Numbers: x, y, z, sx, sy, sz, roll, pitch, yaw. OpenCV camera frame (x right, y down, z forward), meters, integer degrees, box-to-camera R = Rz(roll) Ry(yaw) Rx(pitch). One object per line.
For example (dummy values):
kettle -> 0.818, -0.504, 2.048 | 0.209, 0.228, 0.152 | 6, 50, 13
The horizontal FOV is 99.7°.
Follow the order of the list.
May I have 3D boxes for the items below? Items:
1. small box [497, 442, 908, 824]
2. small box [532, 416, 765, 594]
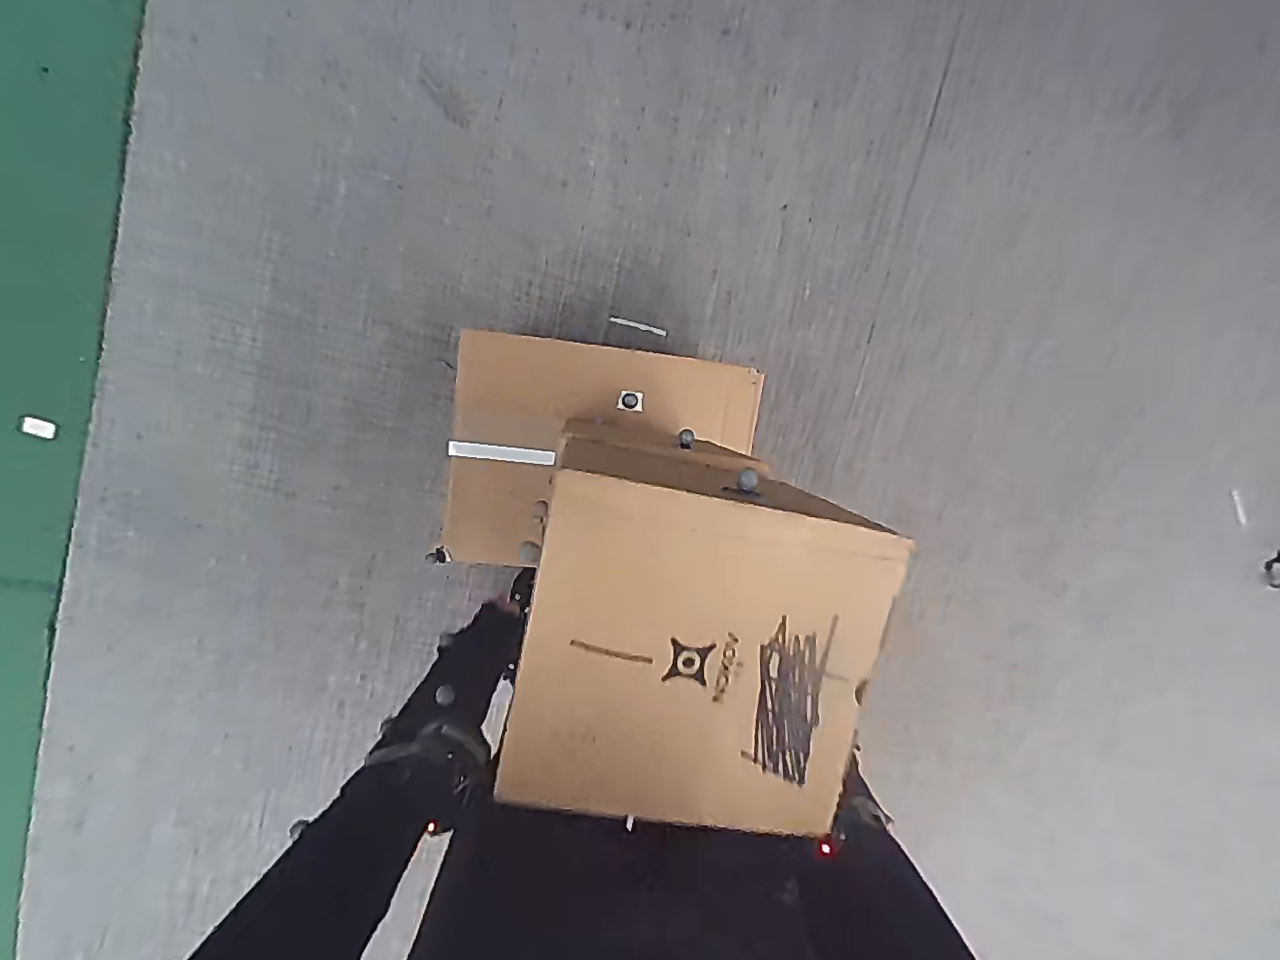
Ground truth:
small box -> 0.022, 0.074, 0.340 | 0.179, 0.176, 0.168 | 11, 97, -8
small box -> -0.003, 0.043, 0.502 | 0.168, 0.176, 0.179 | 8, 99, -8
